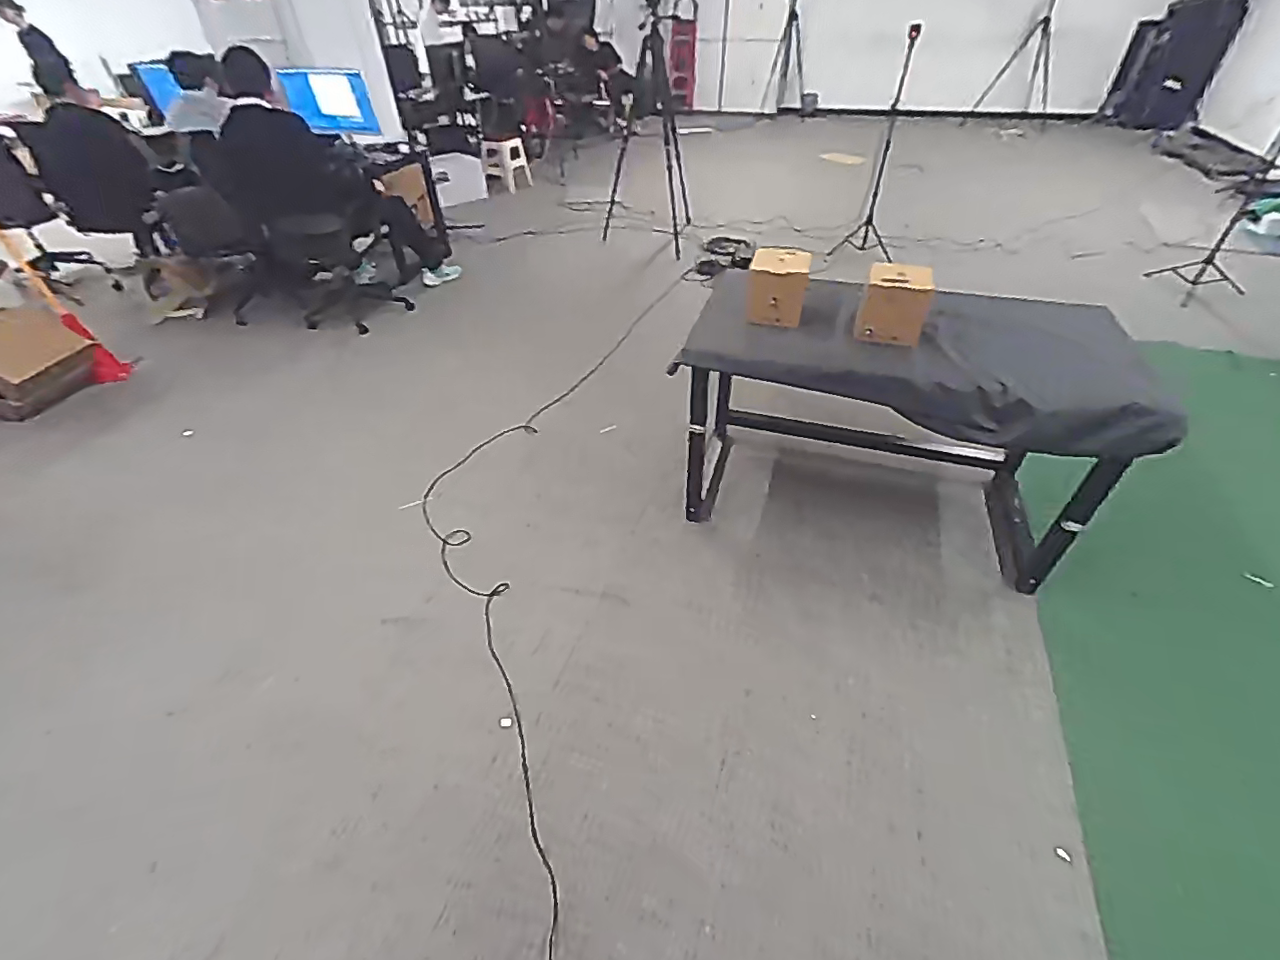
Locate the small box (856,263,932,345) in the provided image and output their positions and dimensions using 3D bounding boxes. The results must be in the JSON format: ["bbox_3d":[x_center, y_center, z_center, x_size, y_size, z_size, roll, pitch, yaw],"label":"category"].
[{"bbox_3d":[0.729,-0.506,1.560,0.168,0.176,0.179,13,43,16],"label":"small box"}]

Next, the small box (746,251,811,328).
[{"bbox_3d":[0.424,-0.584,1.664,0.168,0.176,0.179,10,44,14],"label":"small box"}]
